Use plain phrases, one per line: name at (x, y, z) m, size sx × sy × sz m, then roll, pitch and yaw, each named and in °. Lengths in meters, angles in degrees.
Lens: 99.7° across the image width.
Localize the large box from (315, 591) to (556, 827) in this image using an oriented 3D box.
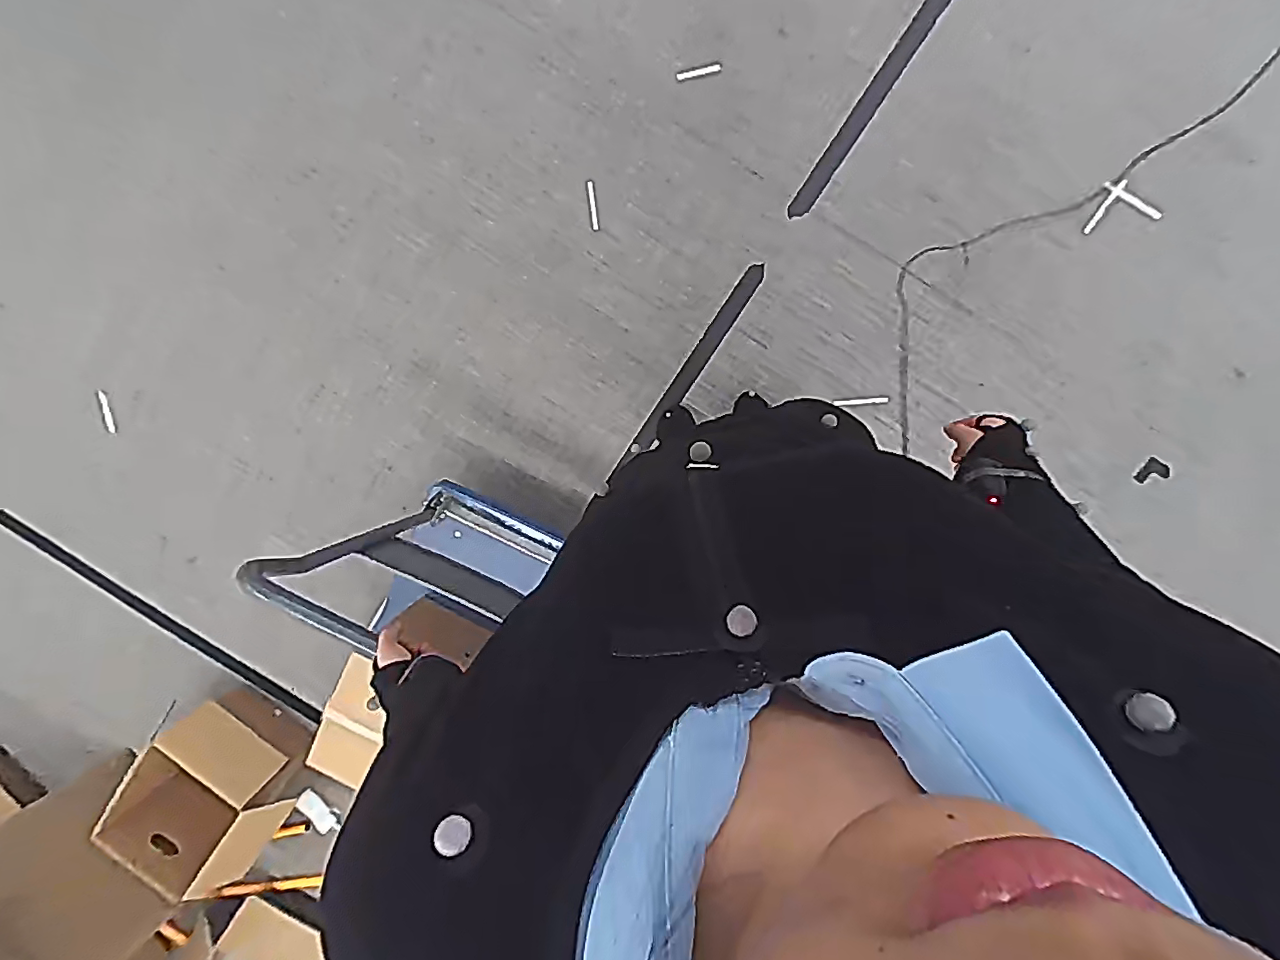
large box at (-0.475, 0.534, 1.326) m, size 0.408 × 0.320 × 0.320 m, roll 27°, pitch 102°, yaw -1°
